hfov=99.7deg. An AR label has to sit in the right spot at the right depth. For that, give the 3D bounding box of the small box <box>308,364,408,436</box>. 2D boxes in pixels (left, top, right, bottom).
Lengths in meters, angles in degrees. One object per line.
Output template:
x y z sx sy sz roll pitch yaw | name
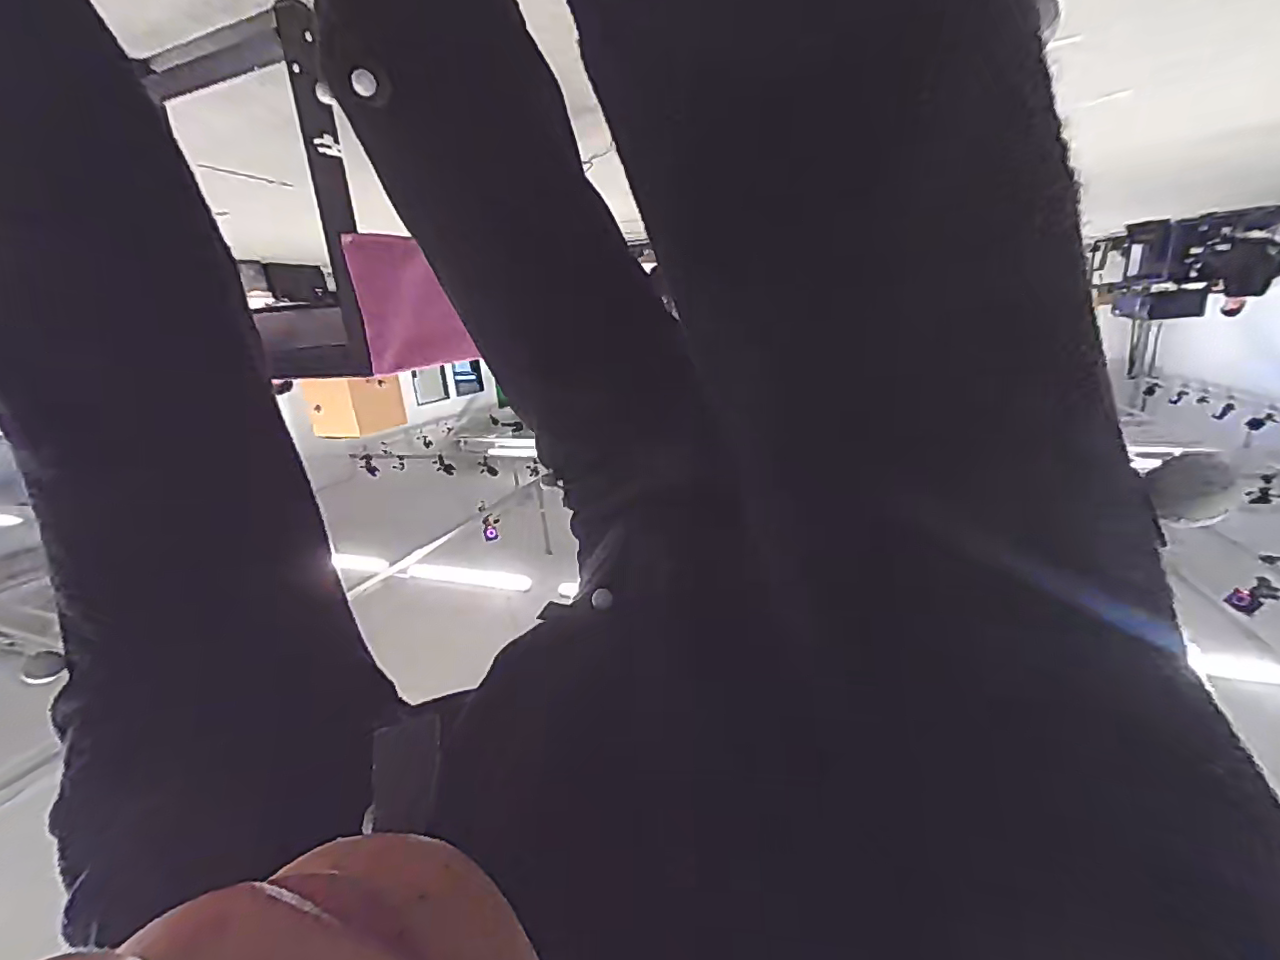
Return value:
-0.770 -0.224 1.474 0.179 0.176 0.168 3 -160 23 | small box
